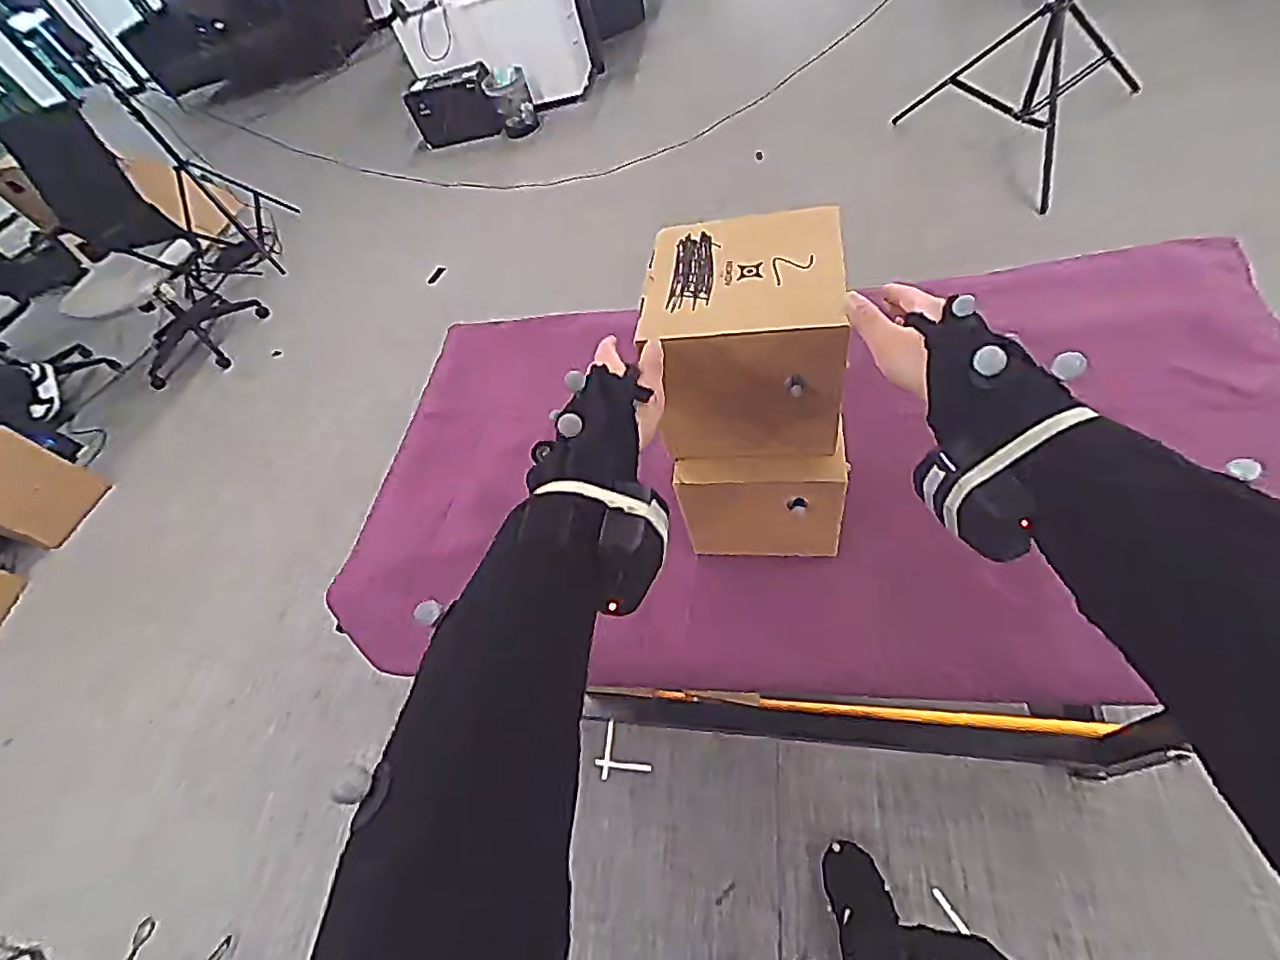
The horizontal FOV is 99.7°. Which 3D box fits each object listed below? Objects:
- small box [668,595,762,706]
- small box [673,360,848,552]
[{"bbox_3d":[0.168,0.367,1.153,0.168,0.176,0.179,4,58,17],"label":"small box"},{"bbox_3d":[0.147,-0.023,0.655,0.179,0.176,0.168,-1,55,15],"label":"small box"}]
